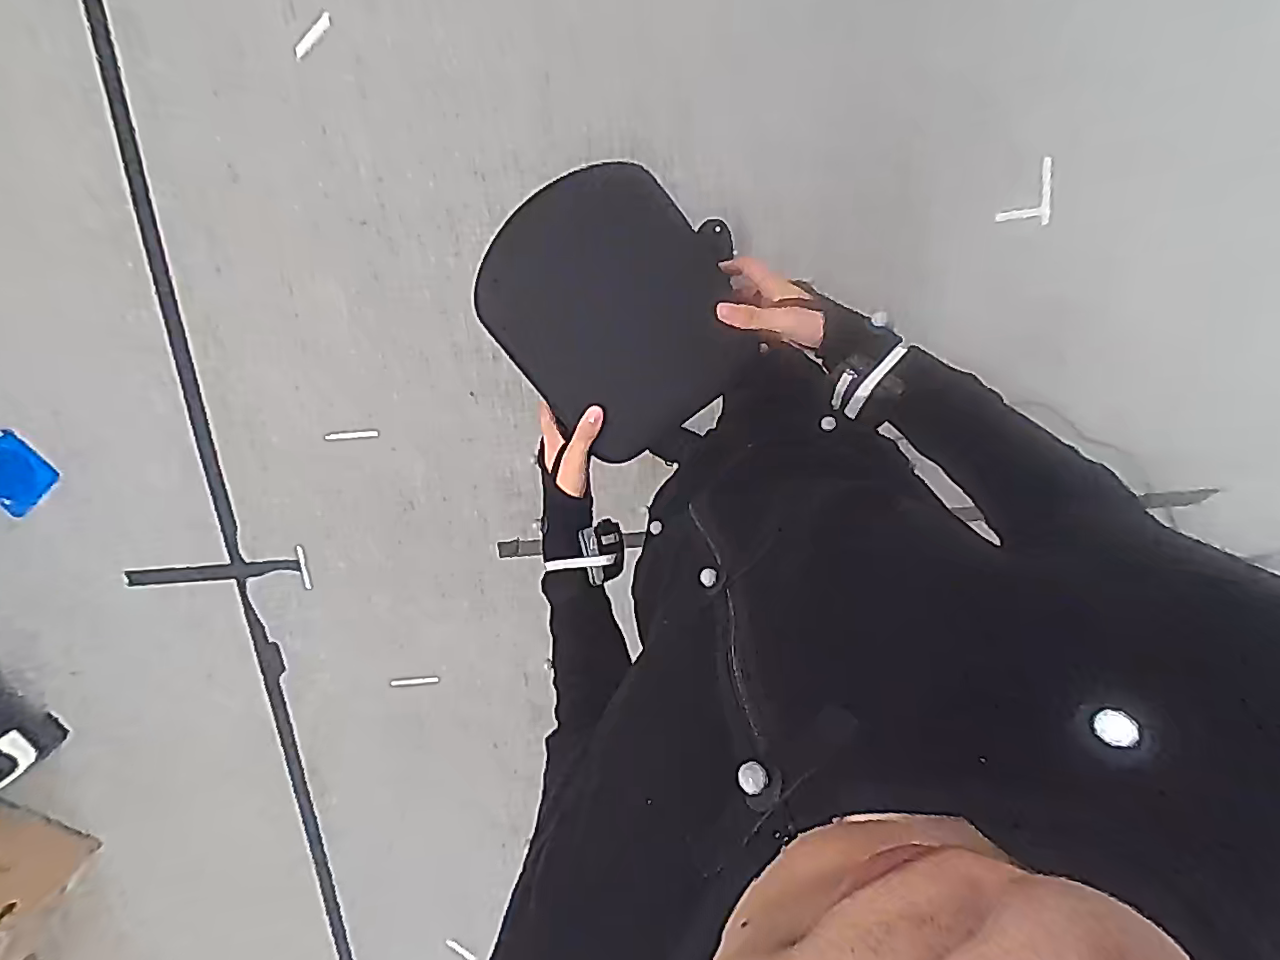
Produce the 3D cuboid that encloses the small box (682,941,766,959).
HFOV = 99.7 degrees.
[{"bbox_3d":[0.168,1.013,1.008,0.168,0.176,0.179,0,103,-3],"label":"small box"}]
